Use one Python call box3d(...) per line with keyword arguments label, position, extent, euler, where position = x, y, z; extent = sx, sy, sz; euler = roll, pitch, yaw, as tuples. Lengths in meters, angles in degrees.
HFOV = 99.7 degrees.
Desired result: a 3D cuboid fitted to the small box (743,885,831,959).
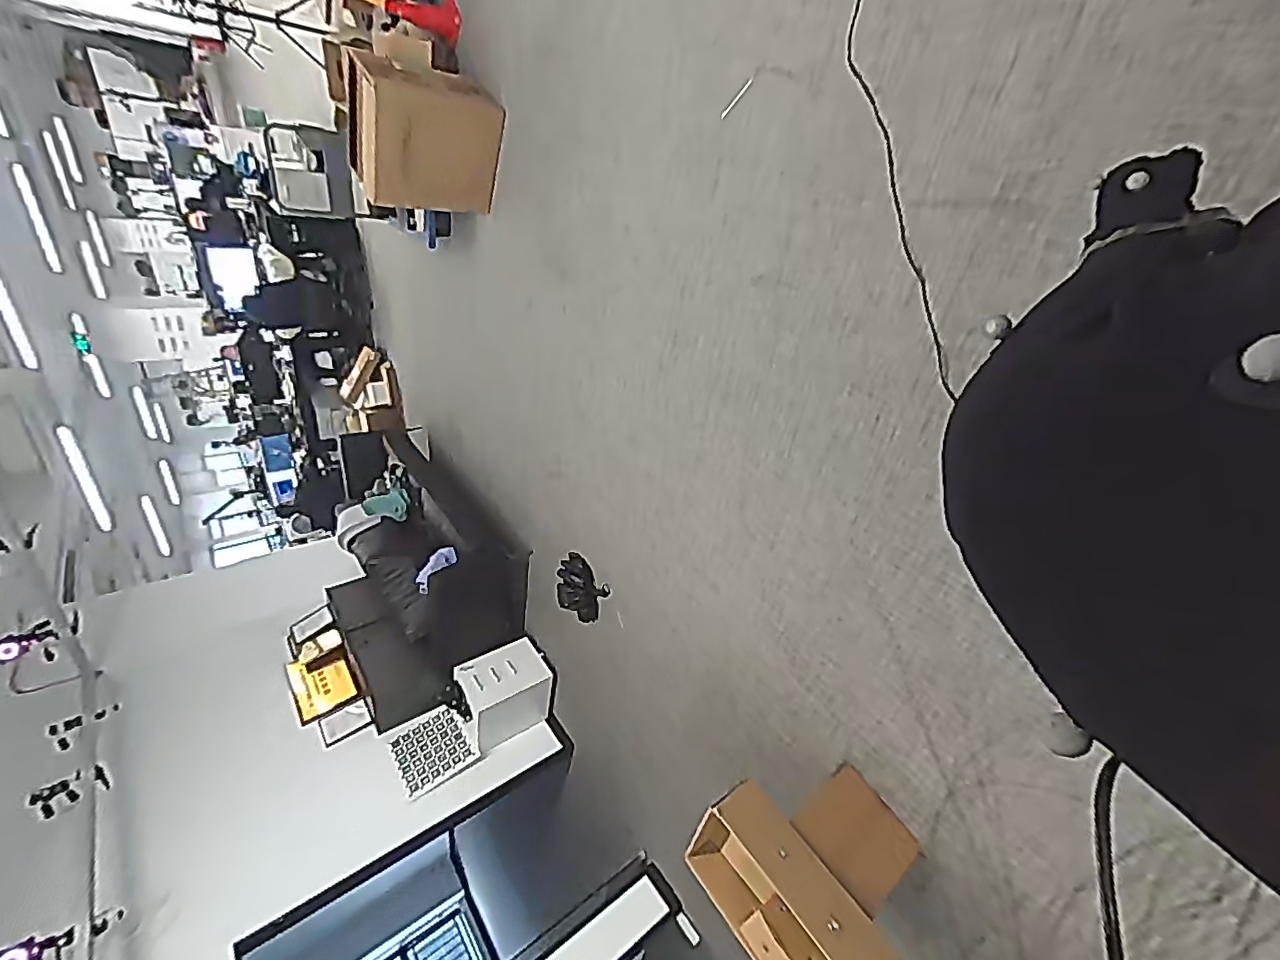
box3d(label="small box", position=(0.450, 1.387, 1.647), extent=(0.168, 0.176, 0.179), euler=(46, 138, 37))
